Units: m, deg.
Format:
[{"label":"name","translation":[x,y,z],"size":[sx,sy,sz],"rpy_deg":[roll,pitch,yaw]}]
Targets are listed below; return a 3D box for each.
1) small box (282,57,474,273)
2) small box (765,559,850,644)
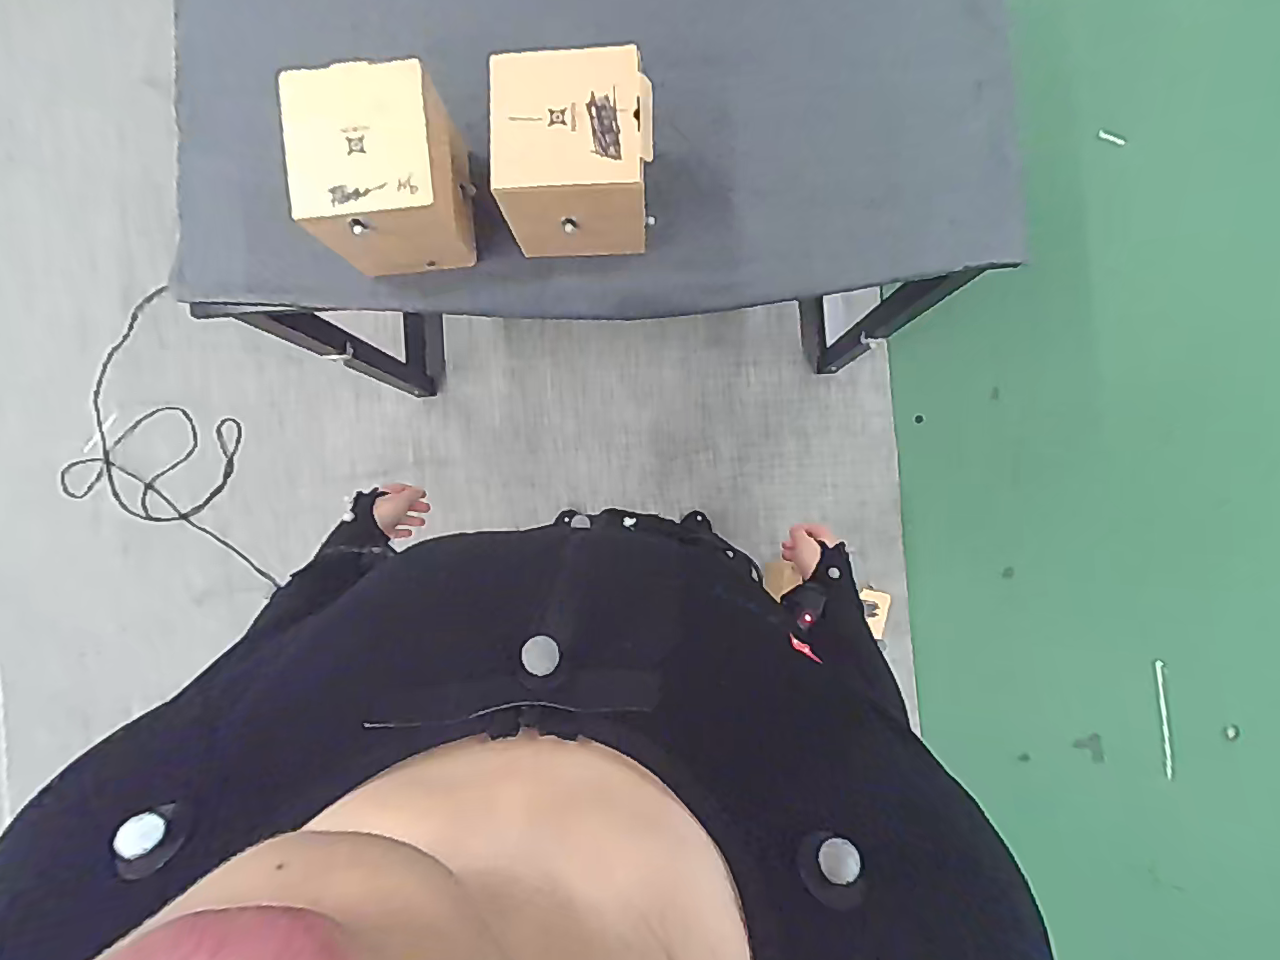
[{"label":"small box","translation":[-0.324,-0.391,0.697],"size":[0.168,0.176,0.179],"rpy_deg":[-5,88,1]},{"label":"small box","translation":[0.425,0.307,1.397],"size":[0.168,0.176,0.179],"rpy_deg":[5,89,1]}]
